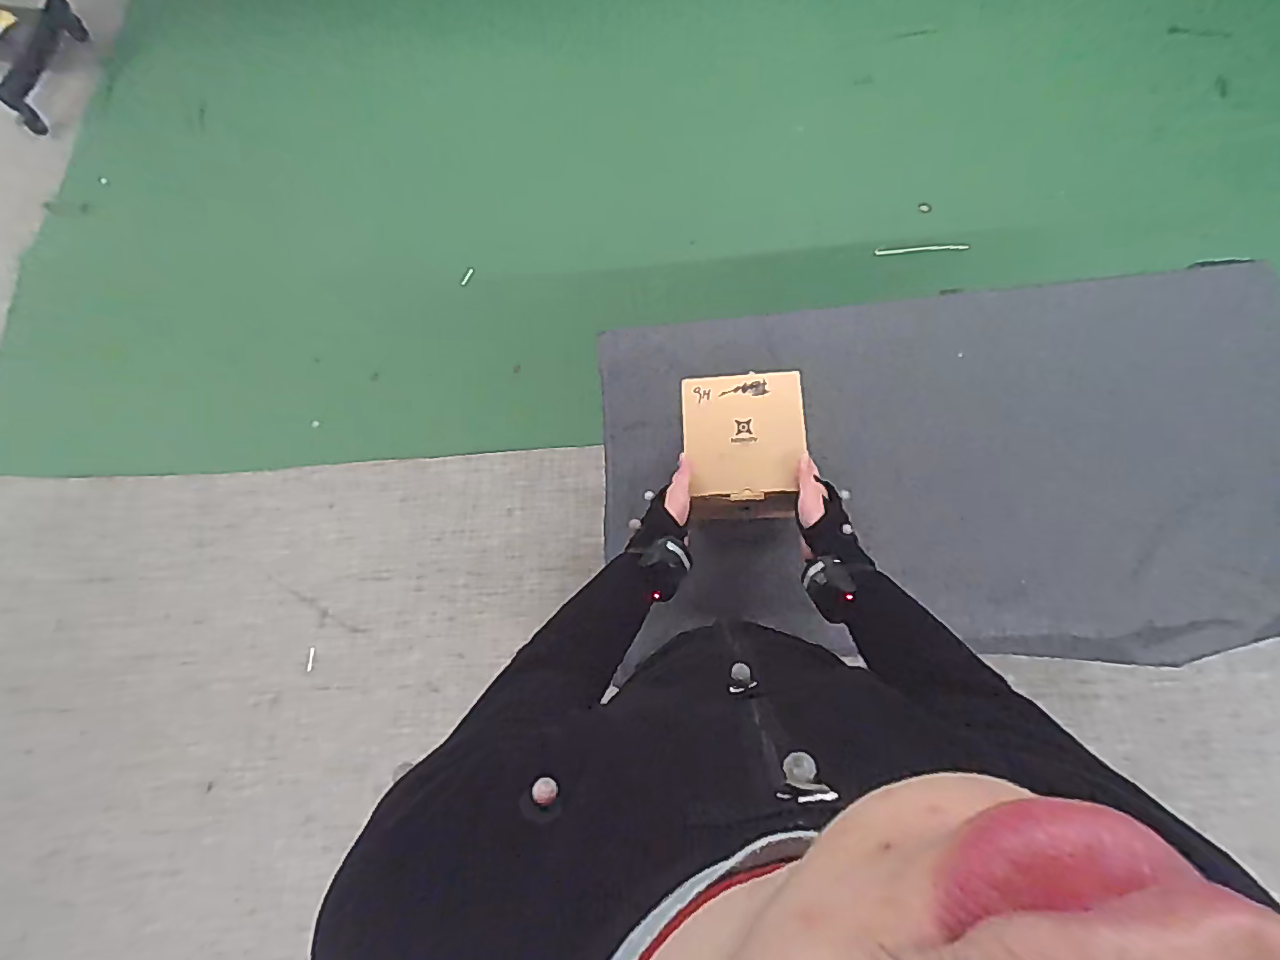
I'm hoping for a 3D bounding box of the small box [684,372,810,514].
[{"bbox_3d":[0.155,-0.044,0.812,0.168,0.176,0.179,-2,76,8],"label":"small box"}]
